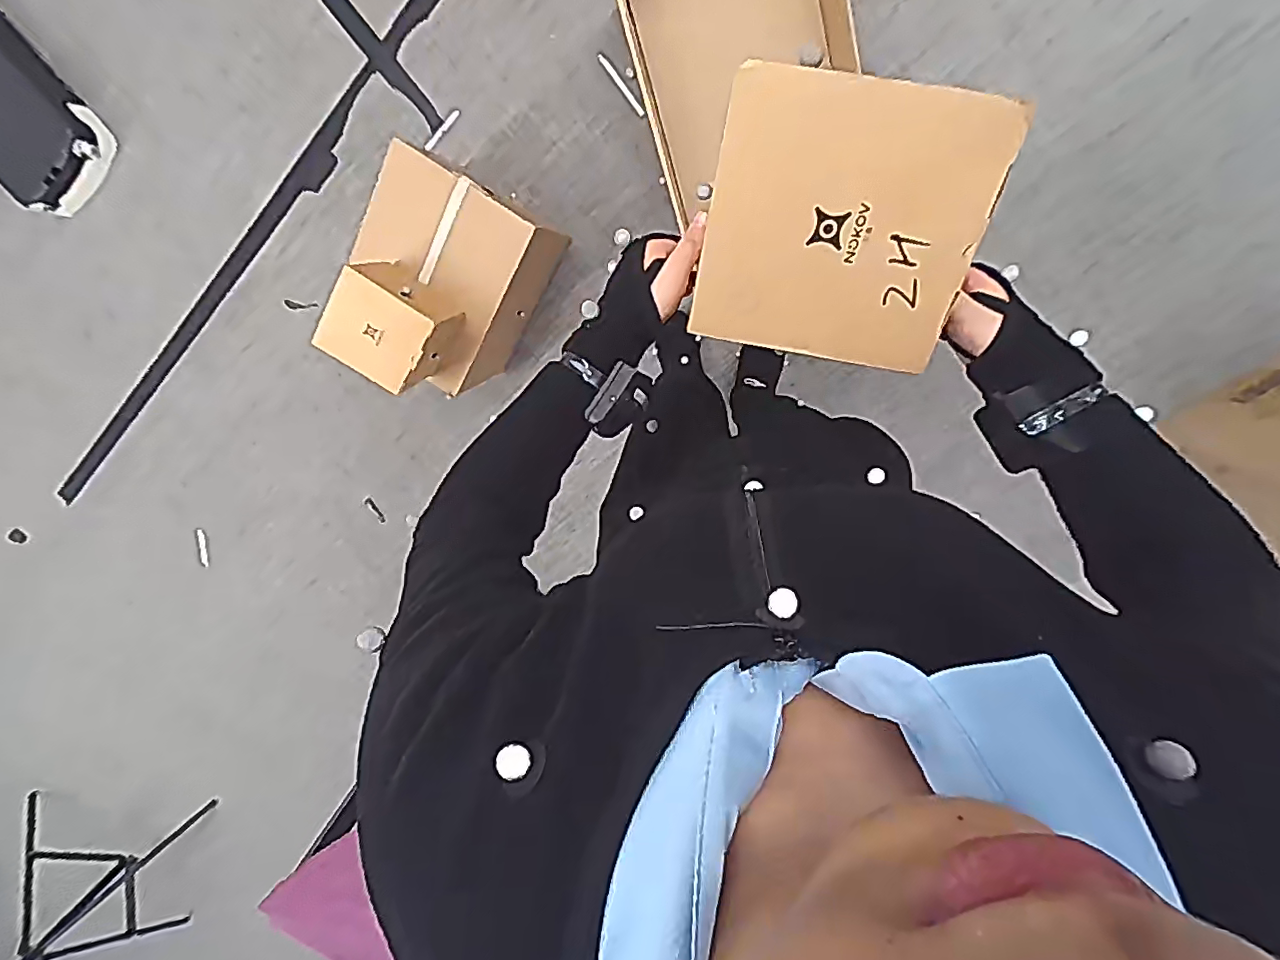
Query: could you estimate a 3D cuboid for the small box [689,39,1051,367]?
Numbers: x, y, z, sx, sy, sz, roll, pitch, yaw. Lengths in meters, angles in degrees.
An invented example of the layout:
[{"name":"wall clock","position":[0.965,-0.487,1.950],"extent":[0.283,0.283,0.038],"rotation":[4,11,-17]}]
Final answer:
[{"name":"small box","position":[0.144,-0.205,0.411],"extent":[0.179,0.176,0.168],"rotation":[12,122,3]}]
